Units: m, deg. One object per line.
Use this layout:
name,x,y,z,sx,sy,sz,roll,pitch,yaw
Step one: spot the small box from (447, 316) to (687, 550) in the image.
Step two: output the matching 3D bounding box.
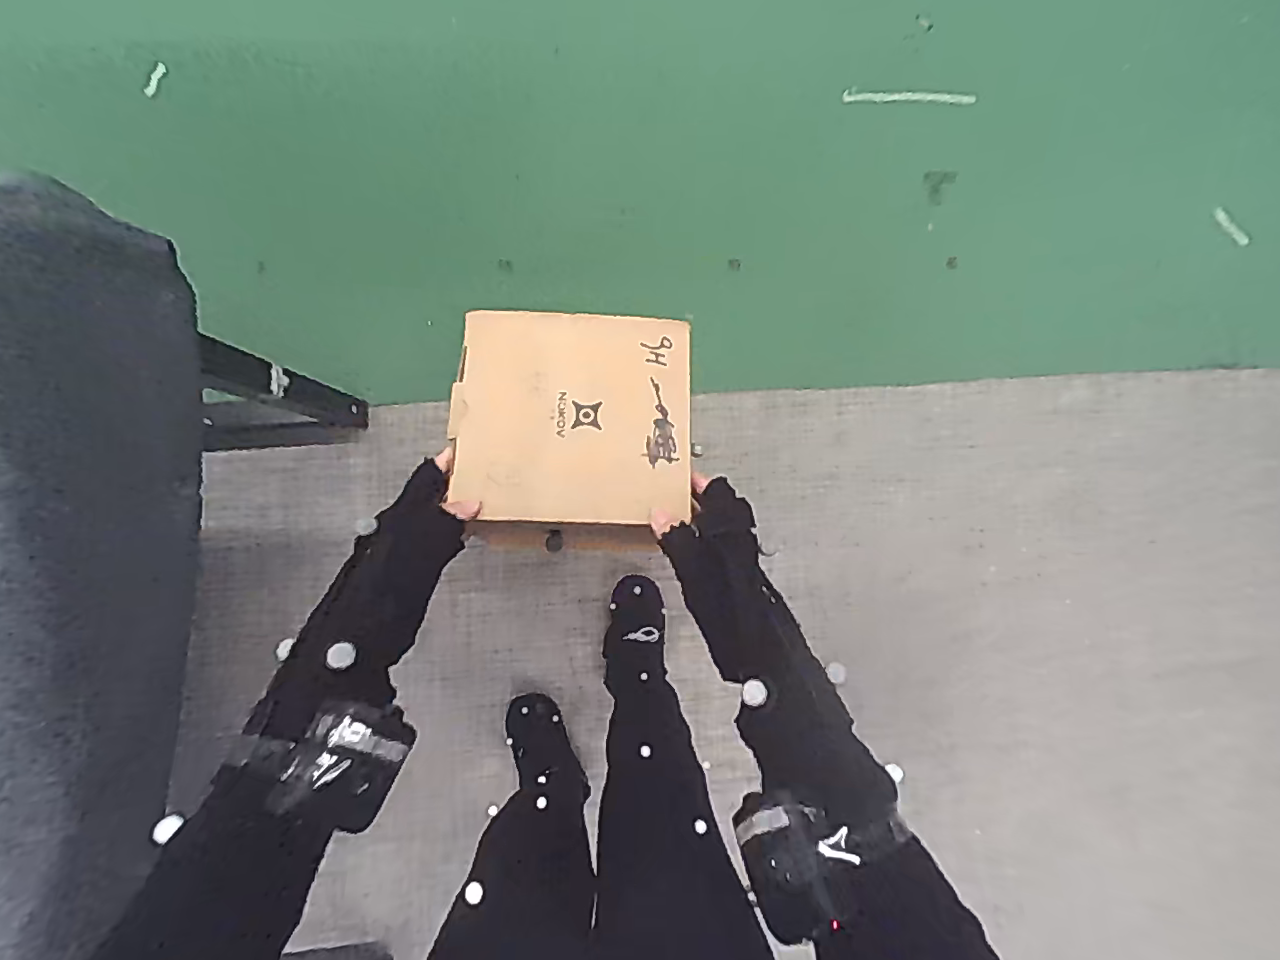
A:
small box,-0.054,-0.029,0.490,0.179,0.176,0.168,2,76,-2
